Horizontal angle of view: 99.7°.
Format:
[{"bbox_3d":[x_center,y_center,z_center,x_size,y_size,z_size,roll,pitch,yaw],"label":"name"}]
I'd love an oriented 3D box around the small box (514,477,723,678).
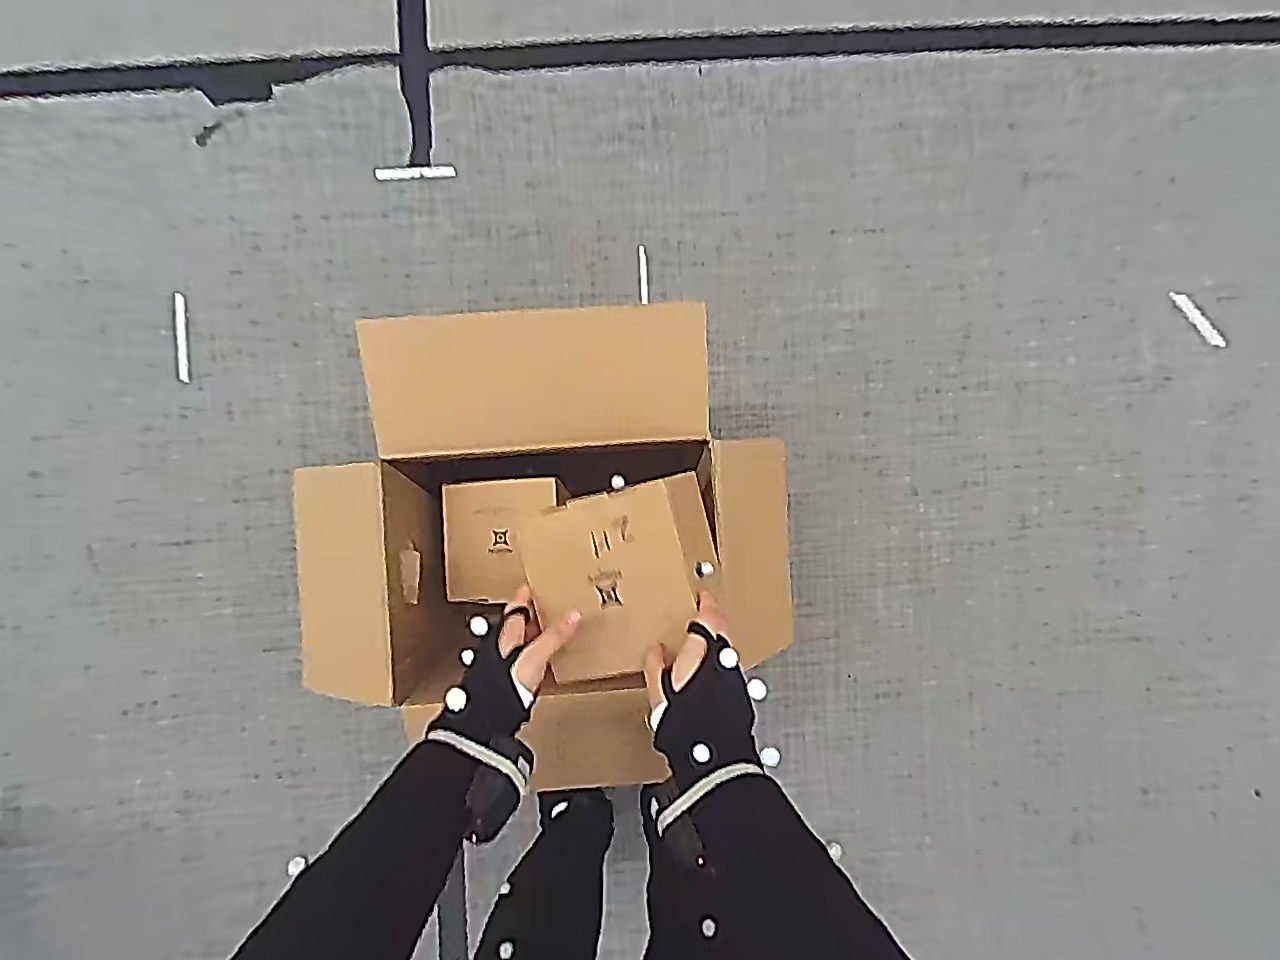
[{"bbox_3d":[-0.012,0.099,0.609,0.168,0.176,0.179,-15,87,17],"label":"small box"}]
